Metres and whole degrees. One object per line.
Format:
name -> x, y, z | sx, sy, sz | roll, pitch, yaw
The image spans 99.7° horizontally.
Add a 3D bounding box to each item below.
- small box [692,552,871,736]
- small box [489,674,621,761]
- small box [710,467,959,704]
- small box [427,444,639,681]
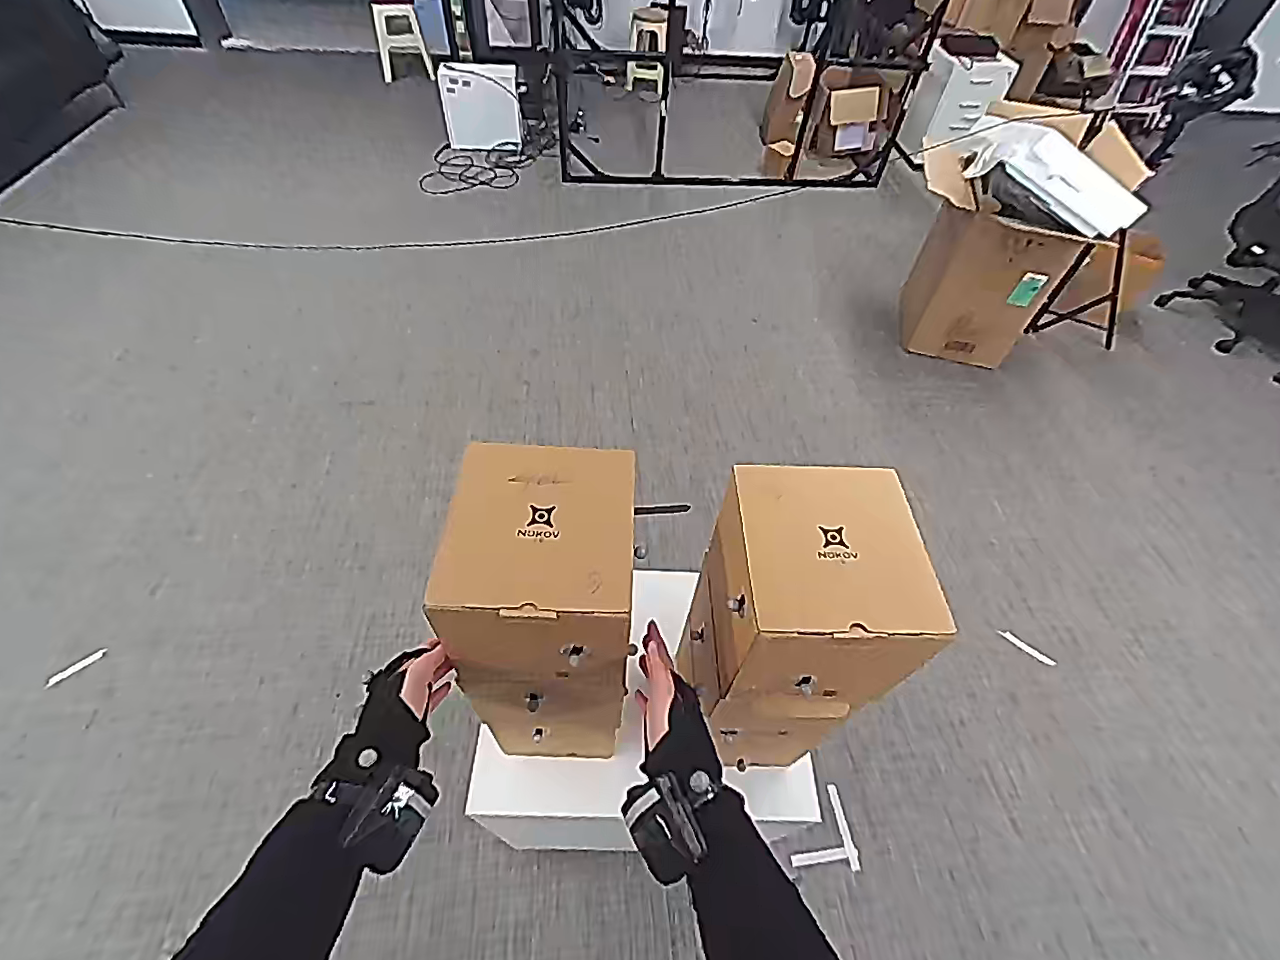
small box -> 0.158, 0.207, 0.670 | 0.168, 0.176, 0.179 | 2, 51, -3
small box -> -0.112, 0.292, 0.793 | 0.168, 0.176, 0.179 | 4, 51, -2
small box -> 0.169, 0.108, 0.542 | 0.168, 0.176, 0.179 | 2, 52, -3
small box -> -0.089, 0.087, 0.537 | 0.168, 0.176, 0.179 | 4, 51, -3
